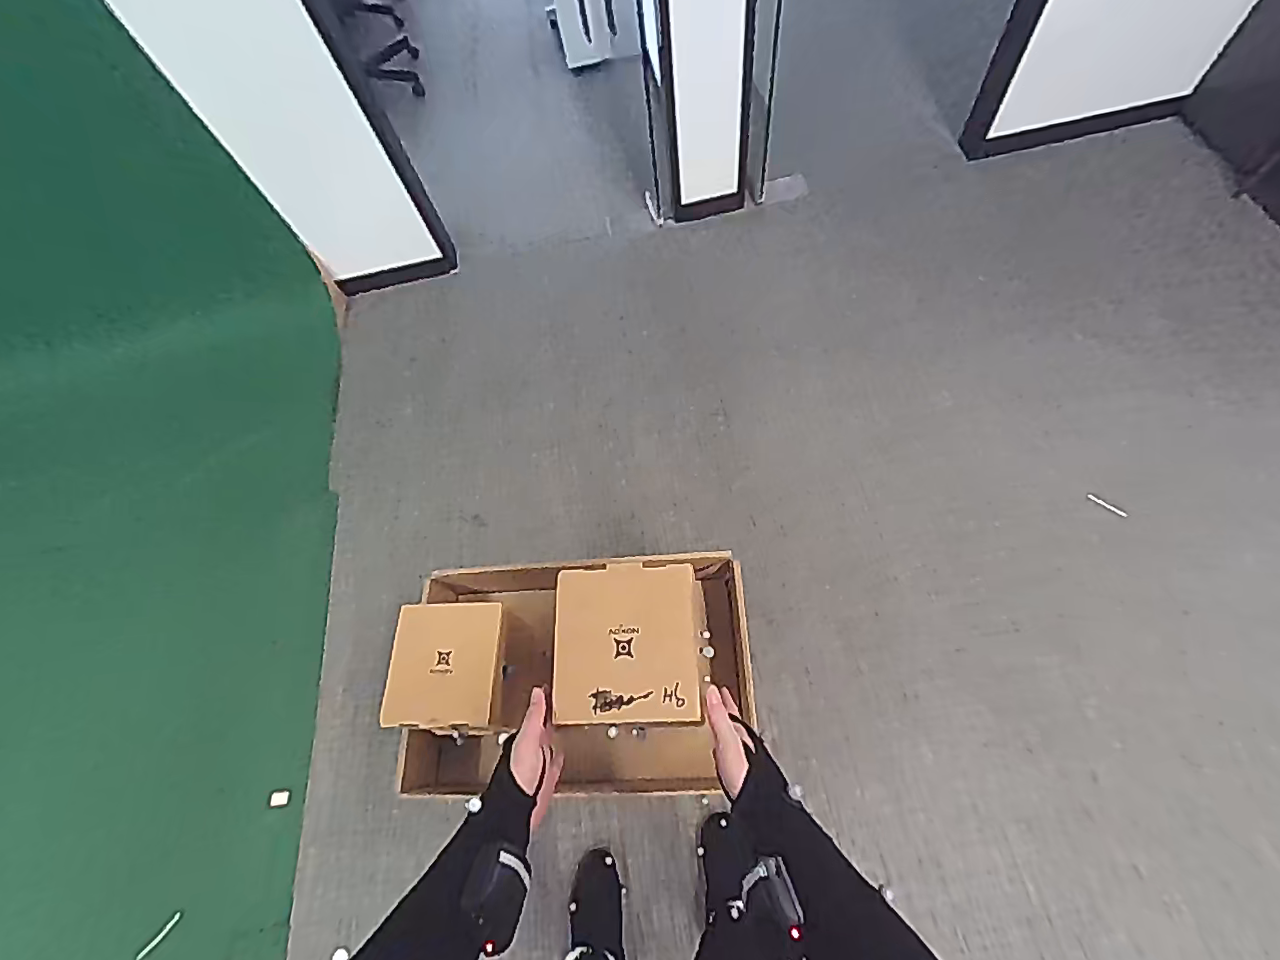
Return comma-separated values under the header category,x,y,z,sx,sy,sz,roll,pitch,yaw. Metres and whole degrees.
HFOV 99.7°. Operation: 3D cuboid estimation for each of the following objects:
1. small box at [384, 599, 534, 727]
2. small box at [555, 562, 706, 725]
category,x,y,z,sx,sy,sz,roll,pitch,yaw
small box,-0.276,0.299,0.871,0.168,0.176,0.179,-3,64,6
small box,-0.003,0.215,0.691,0.168,0.176,0.179,-4,64,7
